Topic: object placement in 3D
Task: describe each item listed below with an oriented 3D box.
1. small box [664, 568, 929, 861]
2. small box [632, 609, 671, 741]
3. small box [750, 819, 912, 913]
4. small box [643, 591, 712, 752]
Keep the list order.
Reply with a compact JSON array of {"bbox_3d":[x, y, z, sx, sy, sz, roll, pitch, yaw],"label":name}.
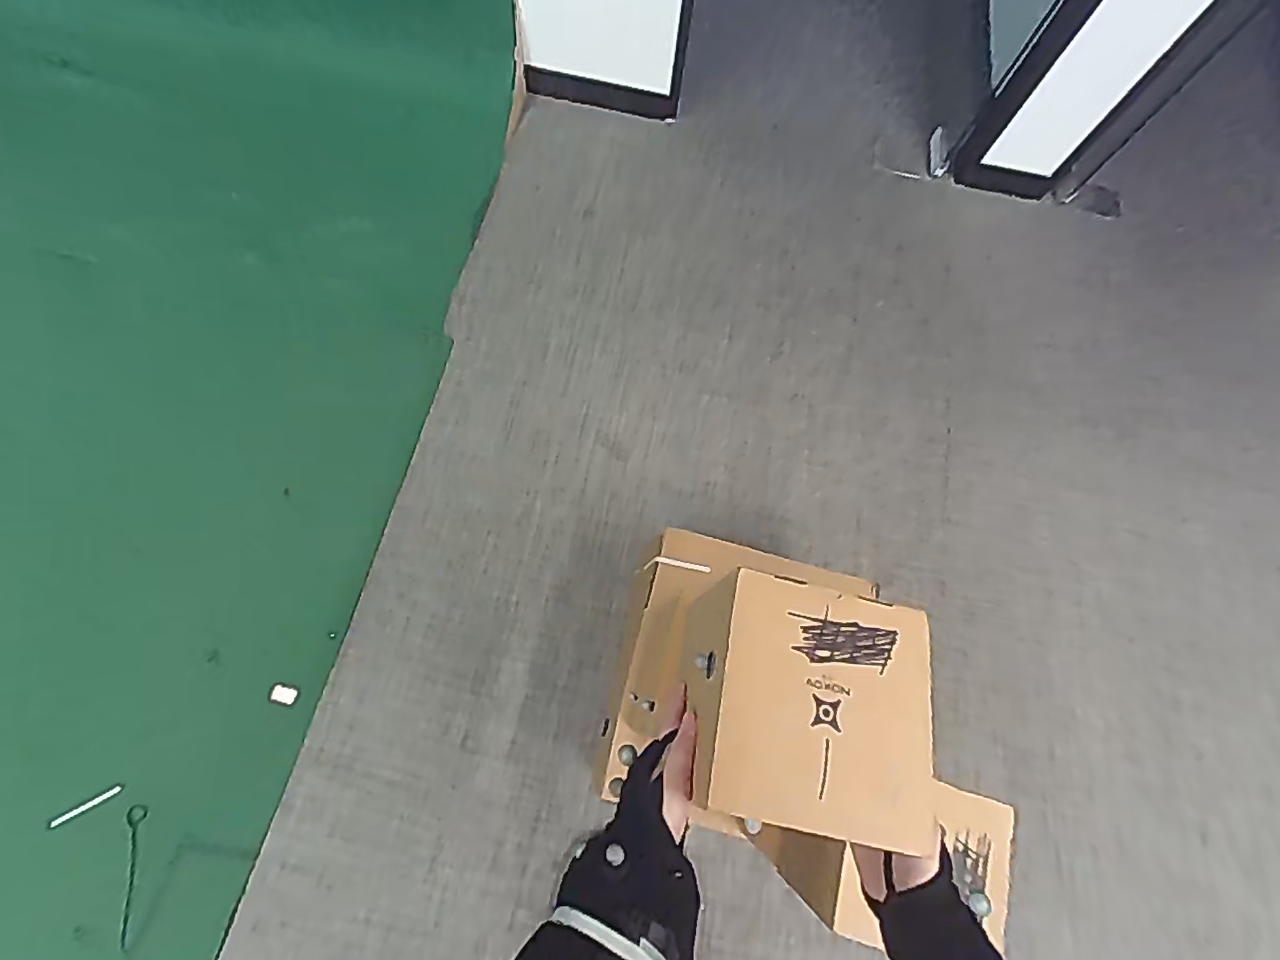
[{"bbox_3d":[0.126,0.199,0.477,0.168,0.176,0.179,14,65,-2],"label":"small box"},{"bbox_3d":[0.087,0.315,0.827,0.168,0.176,0.179,15,68,1],"label":"small box"},{"bbox_3d":[0.271,0.470,0.781,0.168,0.176,0.179,17,68,1],"label":"small box"},{"bbox_3d":[0.103,0.256,0.676,0.168,0.176,0.179,14,69,1],"label":"small box"}]
